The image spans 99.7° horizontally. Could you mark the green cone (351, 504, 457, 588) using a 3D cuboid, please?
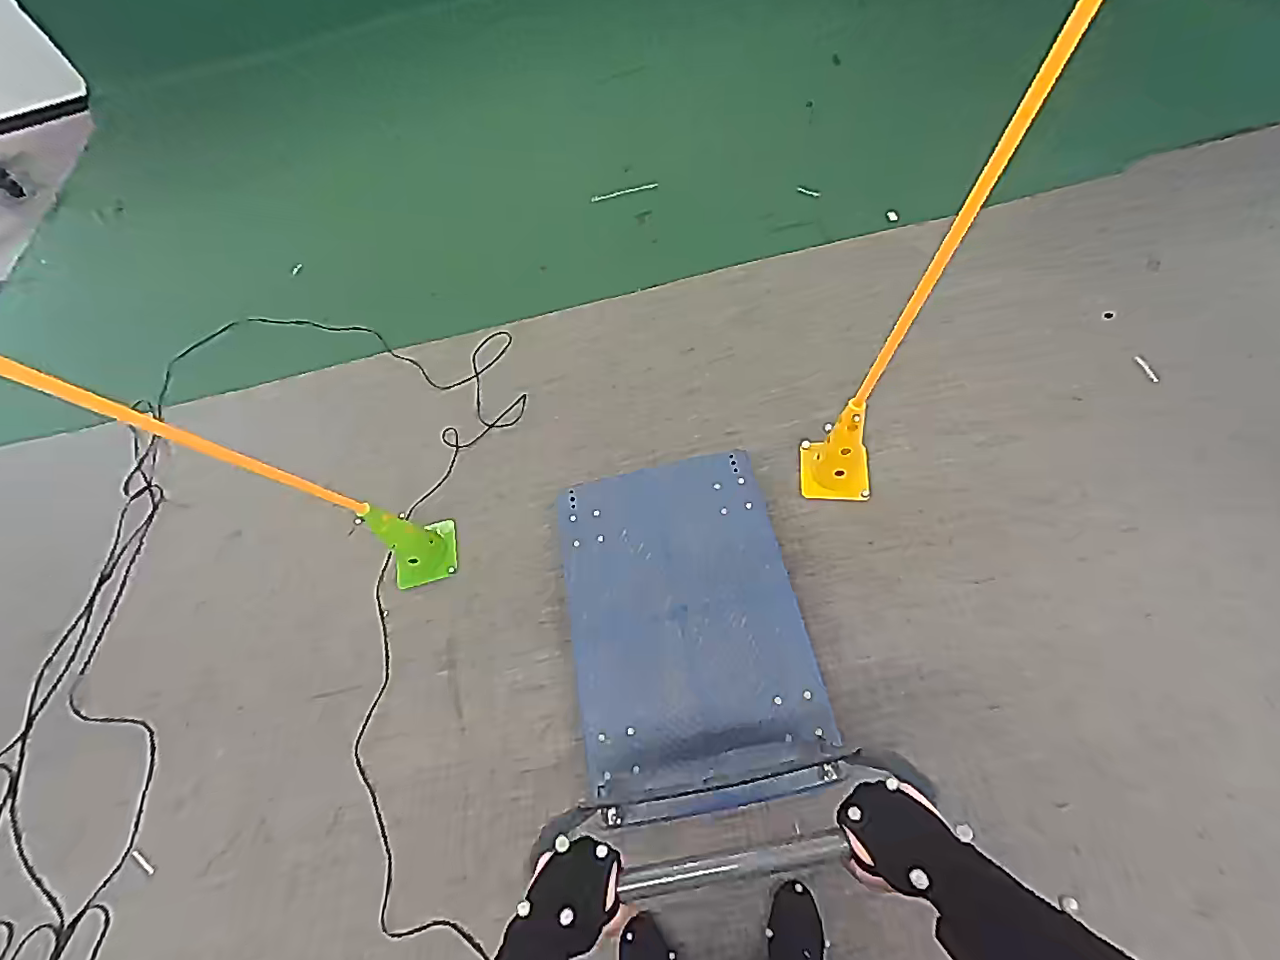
[{"bbox_3d":[-0.726,0.159,1.615,0.202,0.368,0.200,-17,60,2],"label":"green cone"}]
